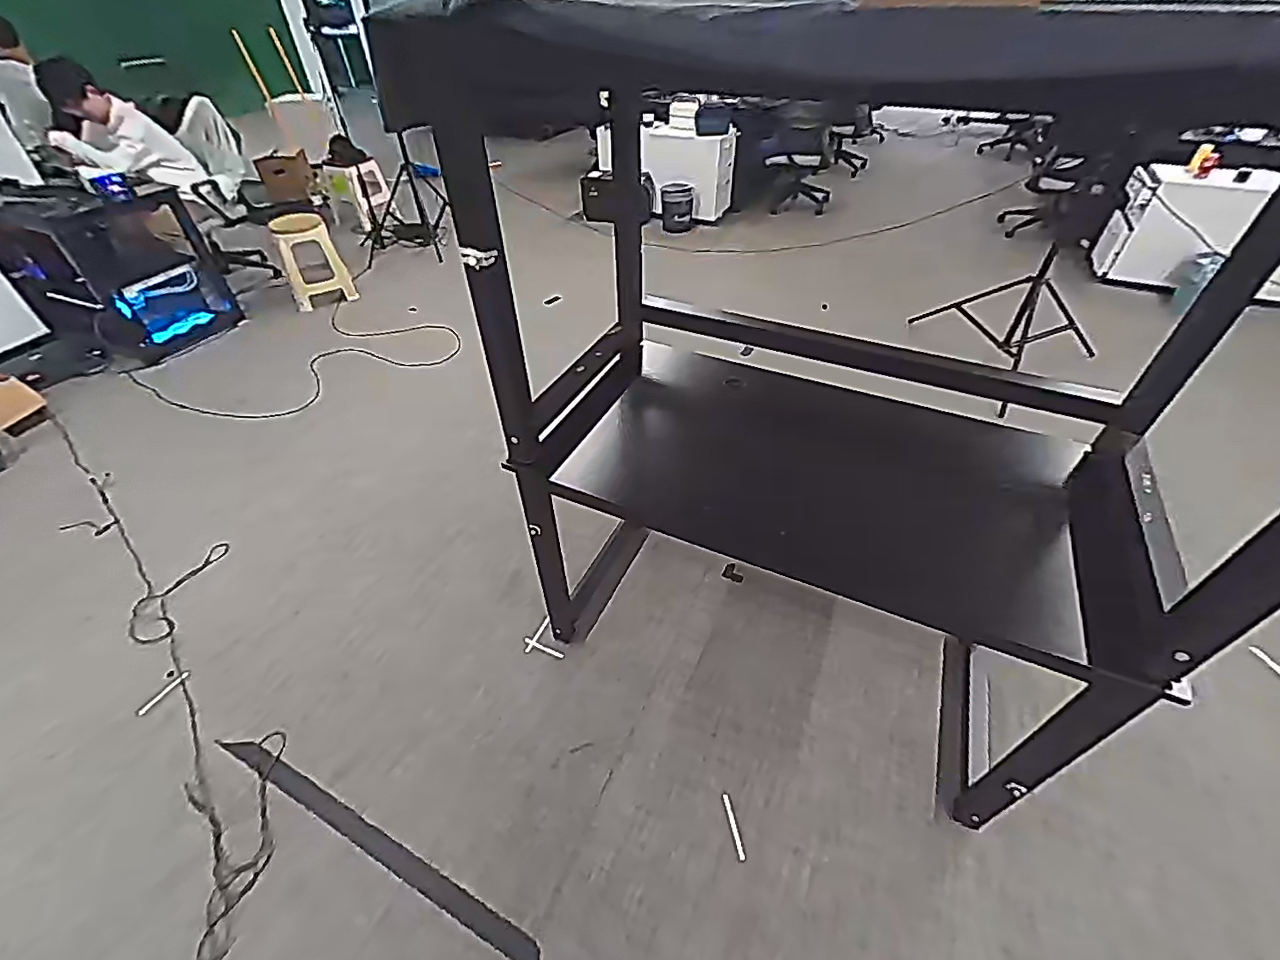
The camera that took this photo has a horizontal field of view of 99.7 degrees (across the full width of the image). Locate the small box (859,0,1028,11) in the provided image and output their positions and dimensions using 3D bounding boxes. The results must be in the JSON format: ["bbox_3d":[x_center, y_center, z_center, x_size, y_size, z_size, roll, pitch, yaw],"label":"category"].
[{"bbox_3d":[0.325,-0.571,0.525,0.168,0.176,0.179,17,44,18],"label":"small box"}]
